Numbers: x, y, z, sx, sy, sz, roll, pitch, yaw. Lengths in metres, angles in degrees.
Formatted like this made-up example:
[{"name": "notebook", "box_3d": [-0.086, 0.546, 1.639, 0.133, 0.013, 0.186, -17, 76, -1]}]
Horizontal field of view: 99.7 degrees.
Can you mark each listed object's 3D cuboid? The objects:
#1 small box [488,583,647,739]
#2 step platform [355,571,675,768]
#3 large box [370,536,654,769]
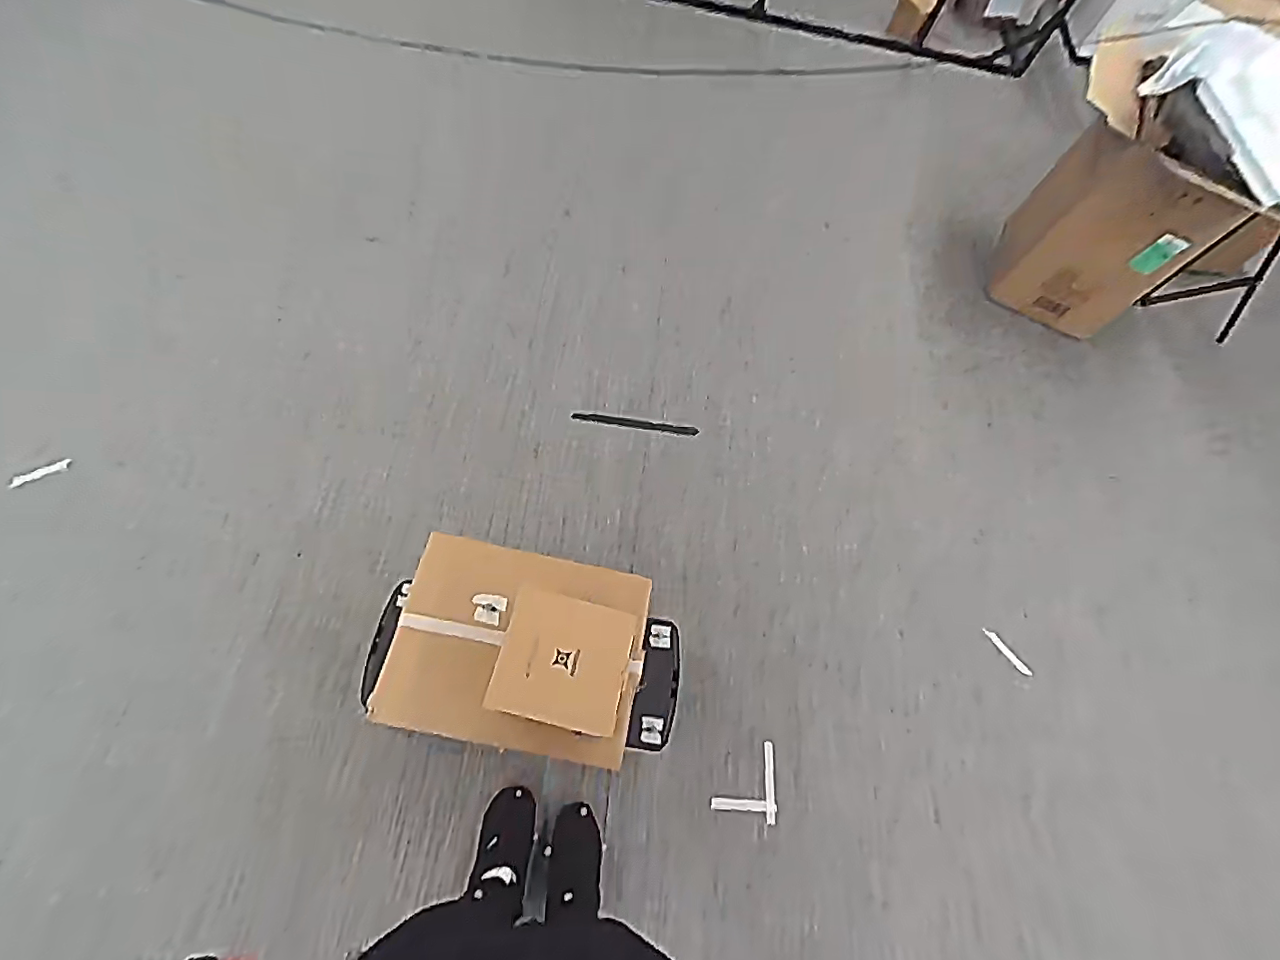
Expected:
[{"name": "small box", "box_3d": [-0.102, 0.268, 0.796, 0.179, 0.176, 0.168, 15, 65, 0]}, {"name": "step platform", "box_3d": [-0.263, 0.430, 1.236, 0.684, 0.204, 0.286, 14, 64, 0]}, {"name": "large box", "box_3d": [-0.207, 0.333, 1.024, 0.408, 0.320, 0.320, 12, 64, -1]}]
